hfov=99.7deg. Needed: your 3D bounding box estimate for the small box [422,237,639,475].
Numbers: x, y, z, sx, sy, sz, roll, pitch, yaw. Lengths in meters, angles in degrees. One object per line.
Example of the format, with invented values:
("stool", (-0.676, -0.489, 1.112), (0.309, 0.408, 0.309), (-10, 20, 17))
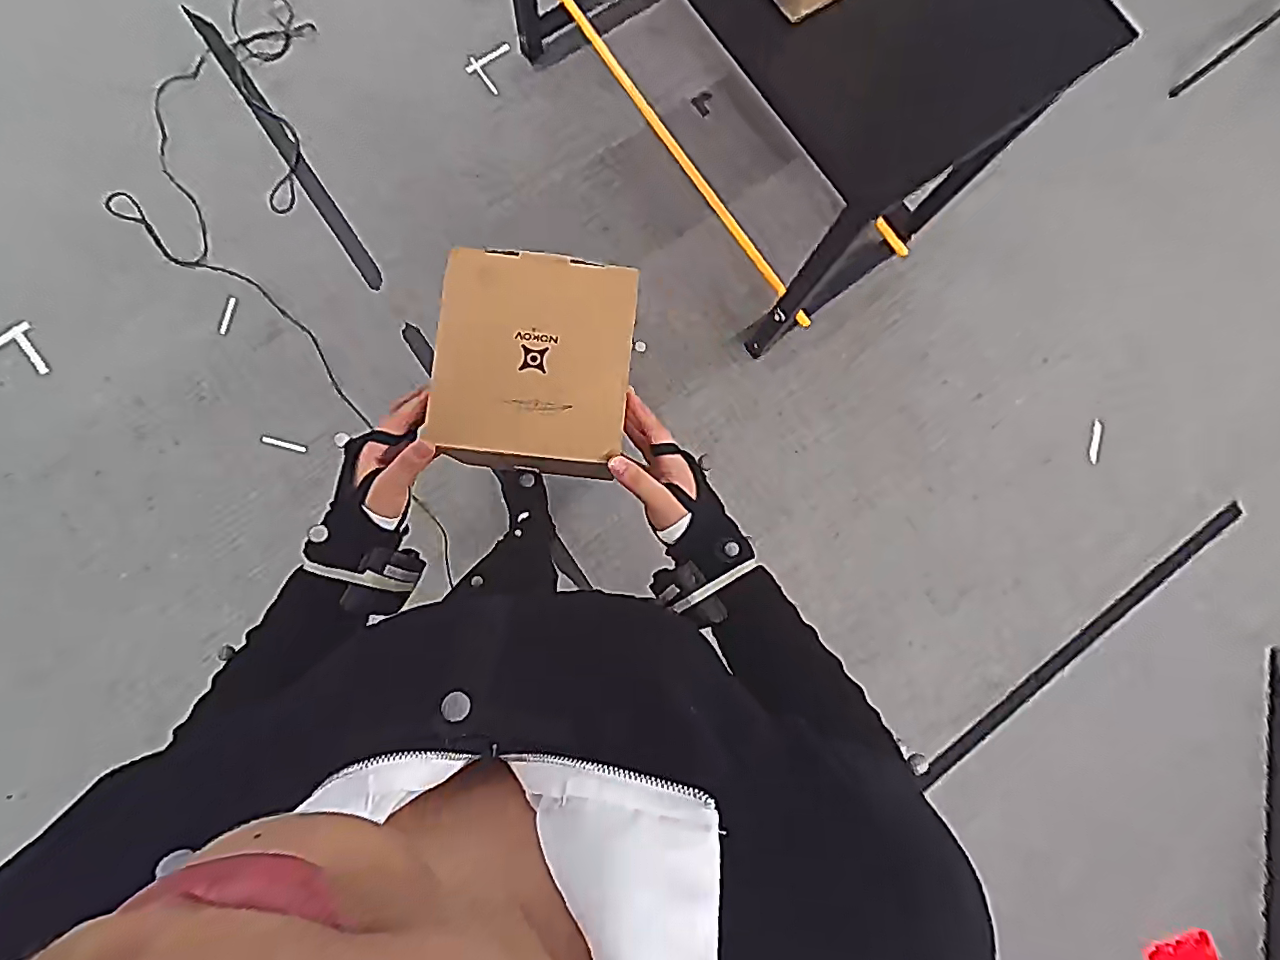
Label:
("small box", (-0.097, -0.106, 0.535), (0.168, 0.176, 0.179), (6, 86, -3))
